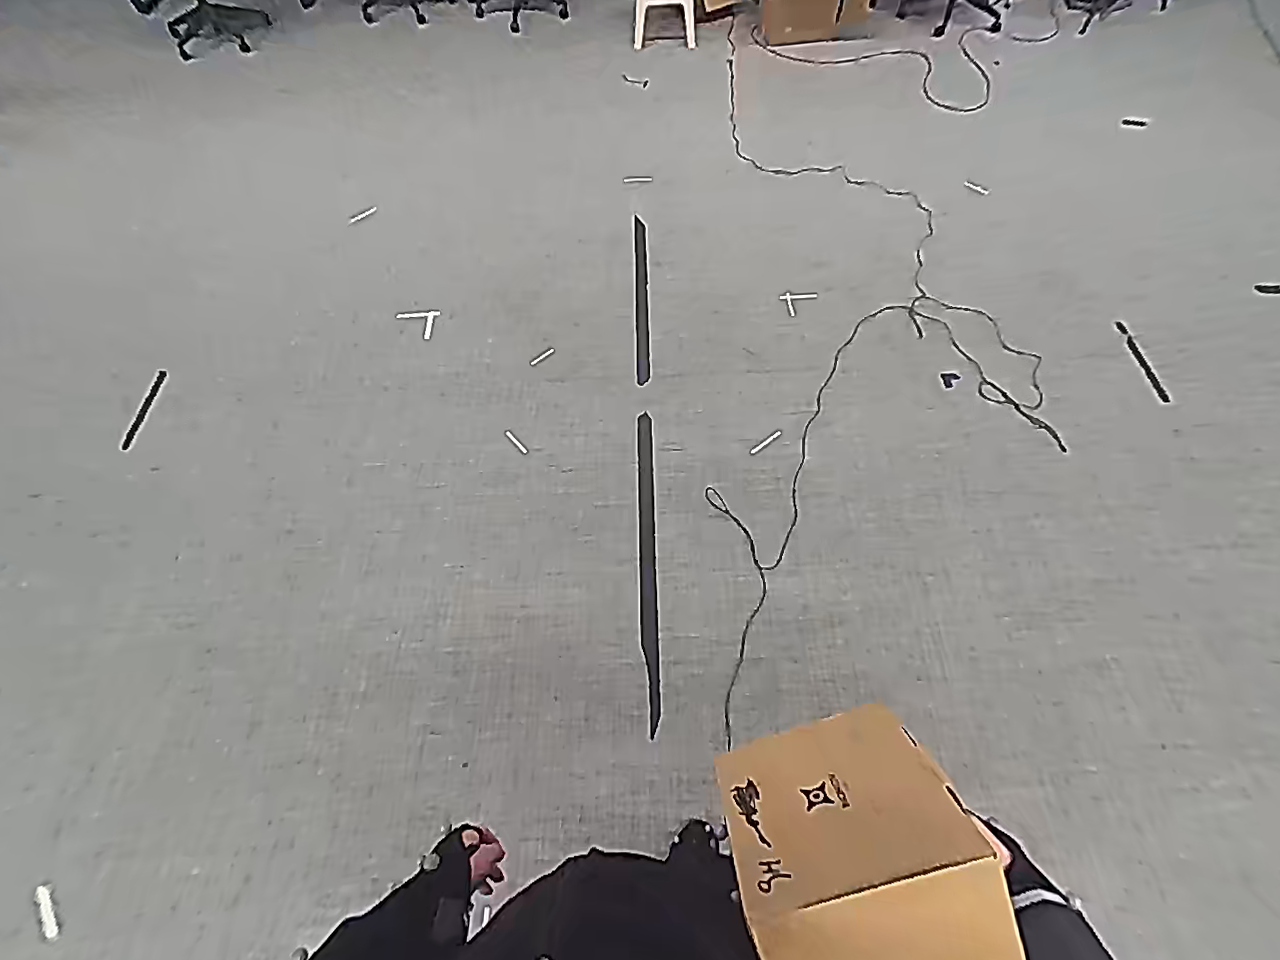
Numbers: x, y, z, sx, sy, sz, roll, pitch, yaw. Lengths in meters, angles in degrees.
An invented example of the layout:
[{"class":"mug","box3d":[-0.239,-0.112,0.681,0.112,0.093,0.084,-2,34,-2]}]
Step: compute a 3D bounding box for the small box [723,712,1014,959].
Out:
[{"class":"small box","box3d":[0.189,0.344,0.470,0.179,0.168,0.176,-19,100,3]}]
